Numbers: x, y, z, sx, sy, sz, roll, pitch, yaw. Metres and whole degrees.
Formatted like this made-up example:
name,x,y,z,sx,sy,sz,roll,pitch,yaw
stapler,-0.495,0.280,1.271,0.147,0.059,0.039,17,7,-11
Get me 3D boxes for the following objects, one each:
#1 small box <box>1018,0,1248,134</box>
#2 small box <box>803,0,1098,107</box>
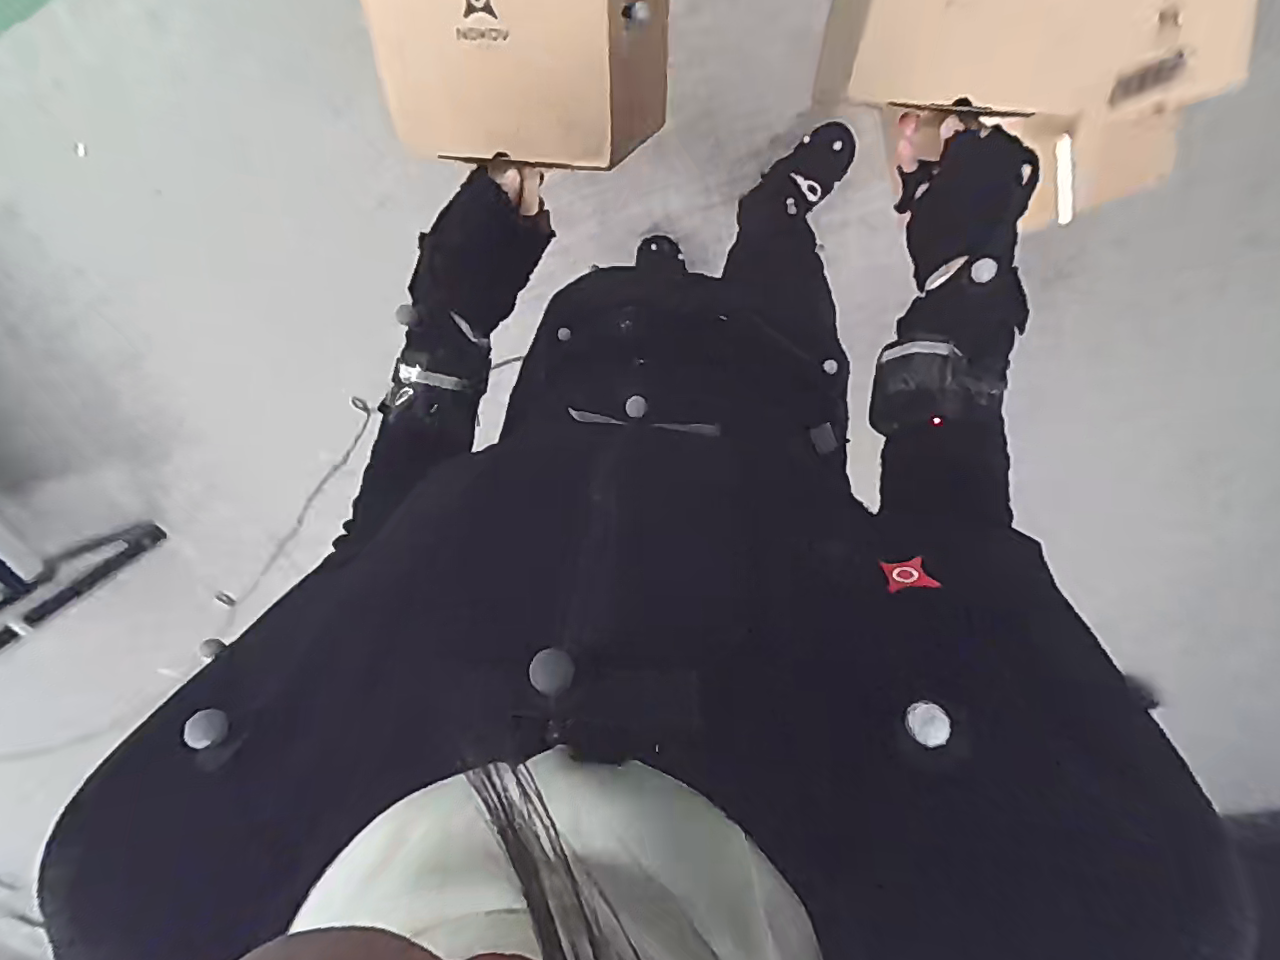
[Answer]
name,x,y,z,sx,sy,sz,roll,pitch,yaw
small box,0.619,-0.568,0.699,0.168,0.176,0.179,-8,118,14
small box,0.229,-0.394,0.405,0.168,0.176,0.179,5,126,2
